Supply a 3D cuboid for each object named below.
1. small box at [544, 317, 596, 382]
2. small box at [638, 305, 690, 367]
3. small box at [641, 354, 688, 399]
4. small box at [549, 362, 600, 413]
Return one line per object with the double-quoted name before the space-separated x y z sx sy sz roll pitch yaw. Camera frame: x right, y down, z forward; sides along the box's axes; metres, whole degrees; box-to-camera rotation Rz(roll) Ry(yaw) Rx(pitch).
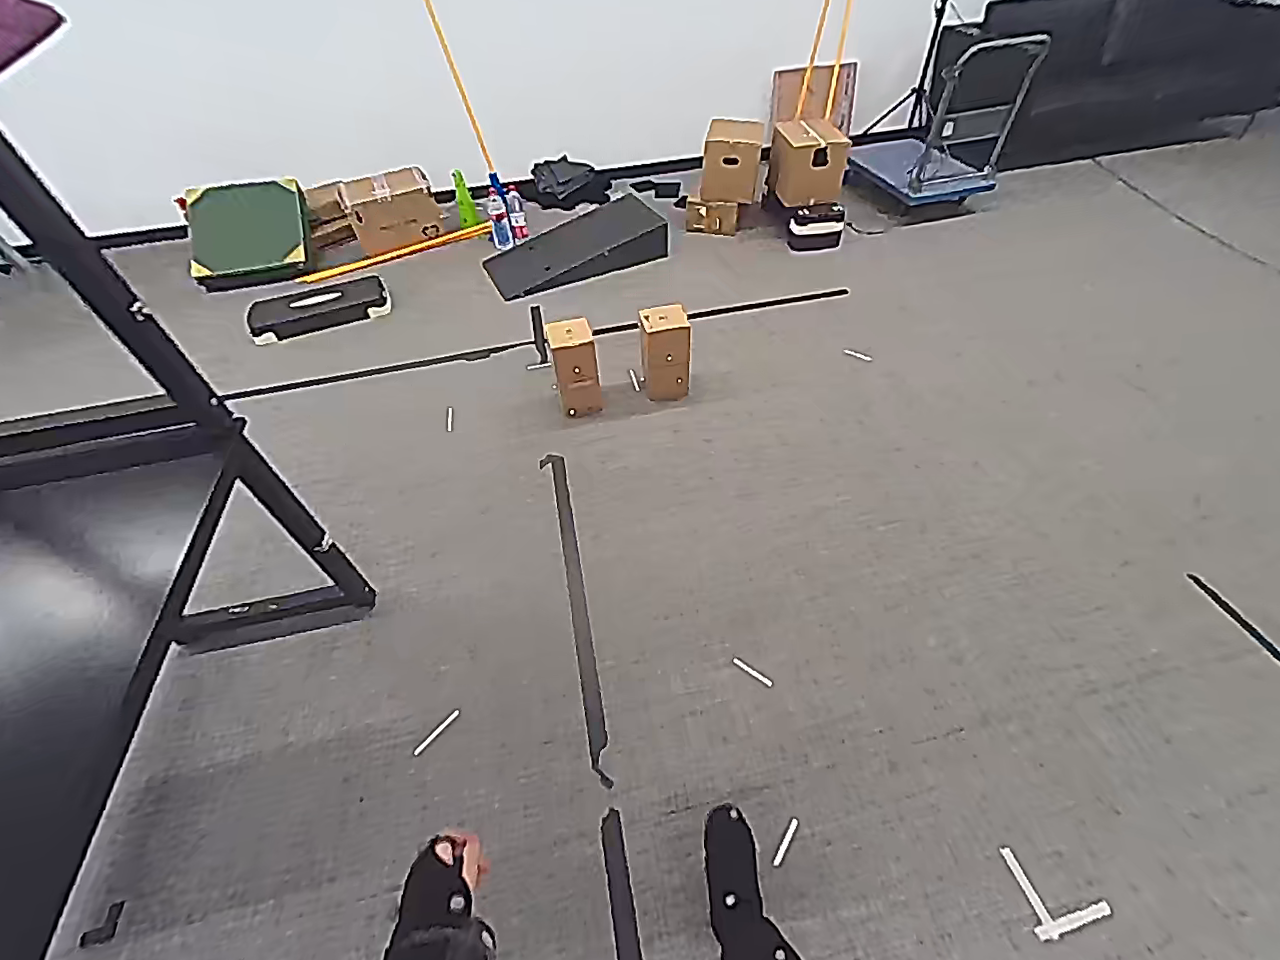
"small box" -0.274 -0.509 2.115 0.168 0.176 0.179 -13 49 -8
"small box" 0.091 -0.574 2.158 0.179 0.176 0.168 -10 47 -6
"small box" 0.100 -0.464 2.278 0.179 0.176 0.168 -9 48 -4
"small box" -0.266 -0.393 2.232 0.168 0.176 0.179 -15 48 -10
